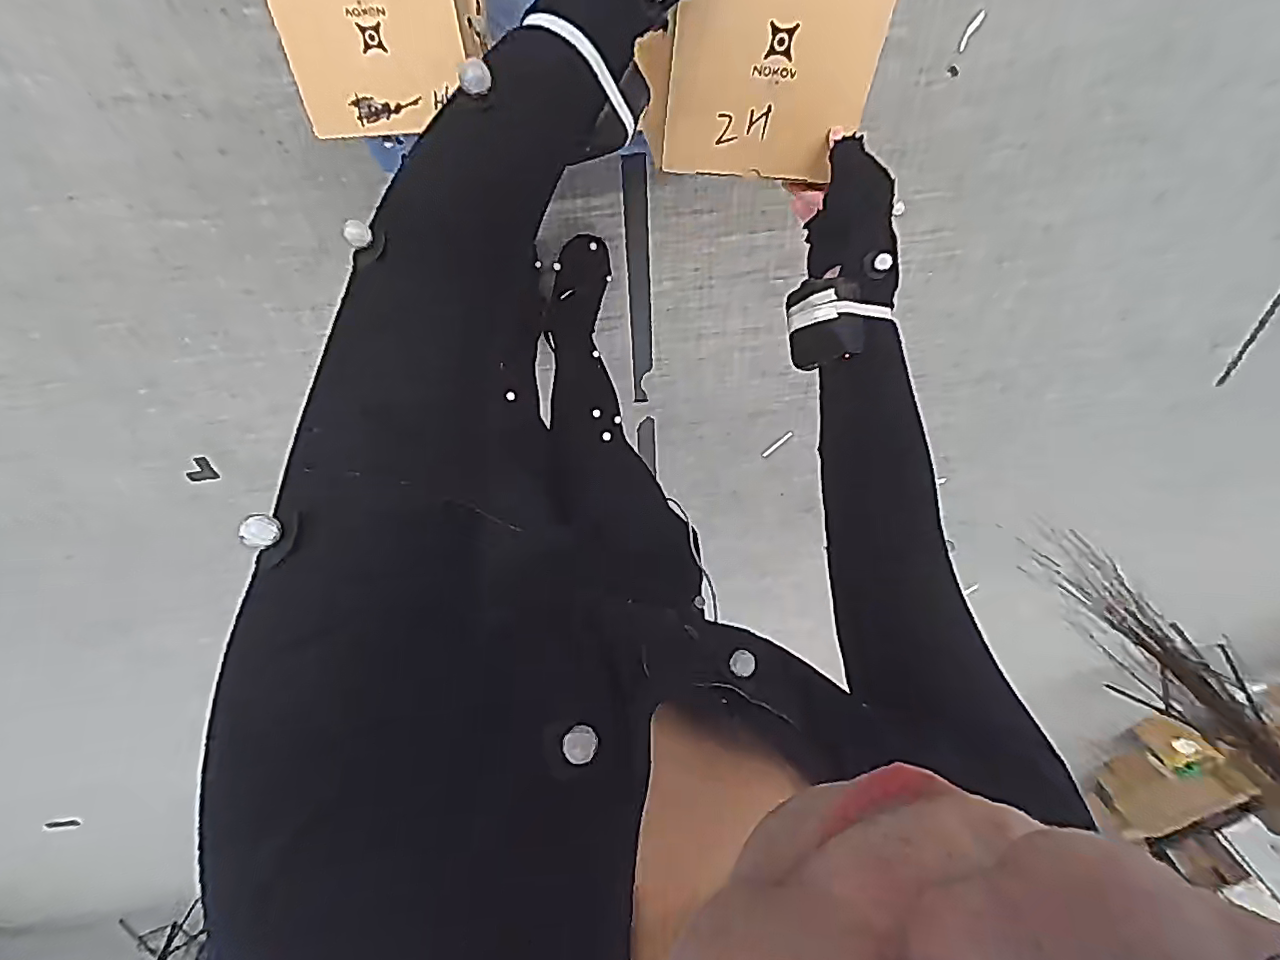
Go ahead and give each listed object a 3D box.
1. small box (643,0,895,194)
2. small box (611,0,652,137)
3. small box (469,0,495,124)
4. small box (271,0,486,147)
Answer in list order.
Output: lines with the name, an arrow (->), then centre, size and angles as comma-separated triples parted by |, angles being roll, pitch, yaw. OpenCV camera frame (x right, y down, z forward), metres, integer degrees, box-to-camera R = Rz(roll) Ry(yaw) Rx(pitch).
small box -> 0.096, -0.378, 0.482 | 0.168, 0.176, 0.179 | 0, 133, -7
small box -> 0.061, -0.496, 0.621 | 0.179, 0.176, 0.168 | -5, 129, -10
small box -> -0.287, -0.569, 0.699 | 0.179, 0.176, 0.168 | -5, 129, -7
small box -> -0.264, -0.467, 0.572 | 0.168, 0.176, 0.179 | -7, 129, -6
